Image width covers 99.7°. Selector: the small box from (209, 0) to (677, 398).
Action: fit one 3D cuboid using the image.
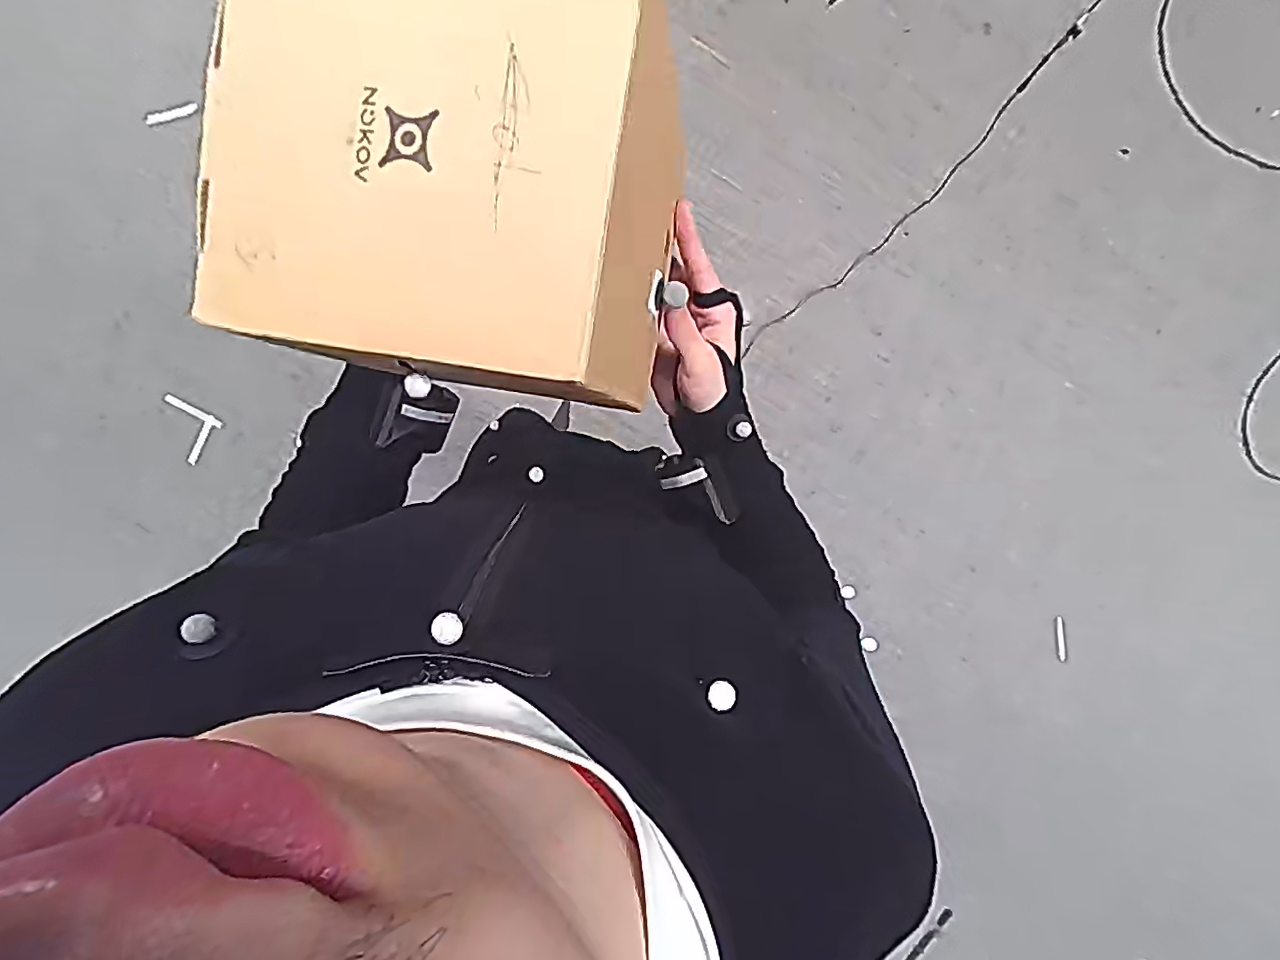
[{"bbox_3d":[-0.082,-0.142,0.300,0.179,0.176,0.168,9,96,8],"label":"small box"}]
